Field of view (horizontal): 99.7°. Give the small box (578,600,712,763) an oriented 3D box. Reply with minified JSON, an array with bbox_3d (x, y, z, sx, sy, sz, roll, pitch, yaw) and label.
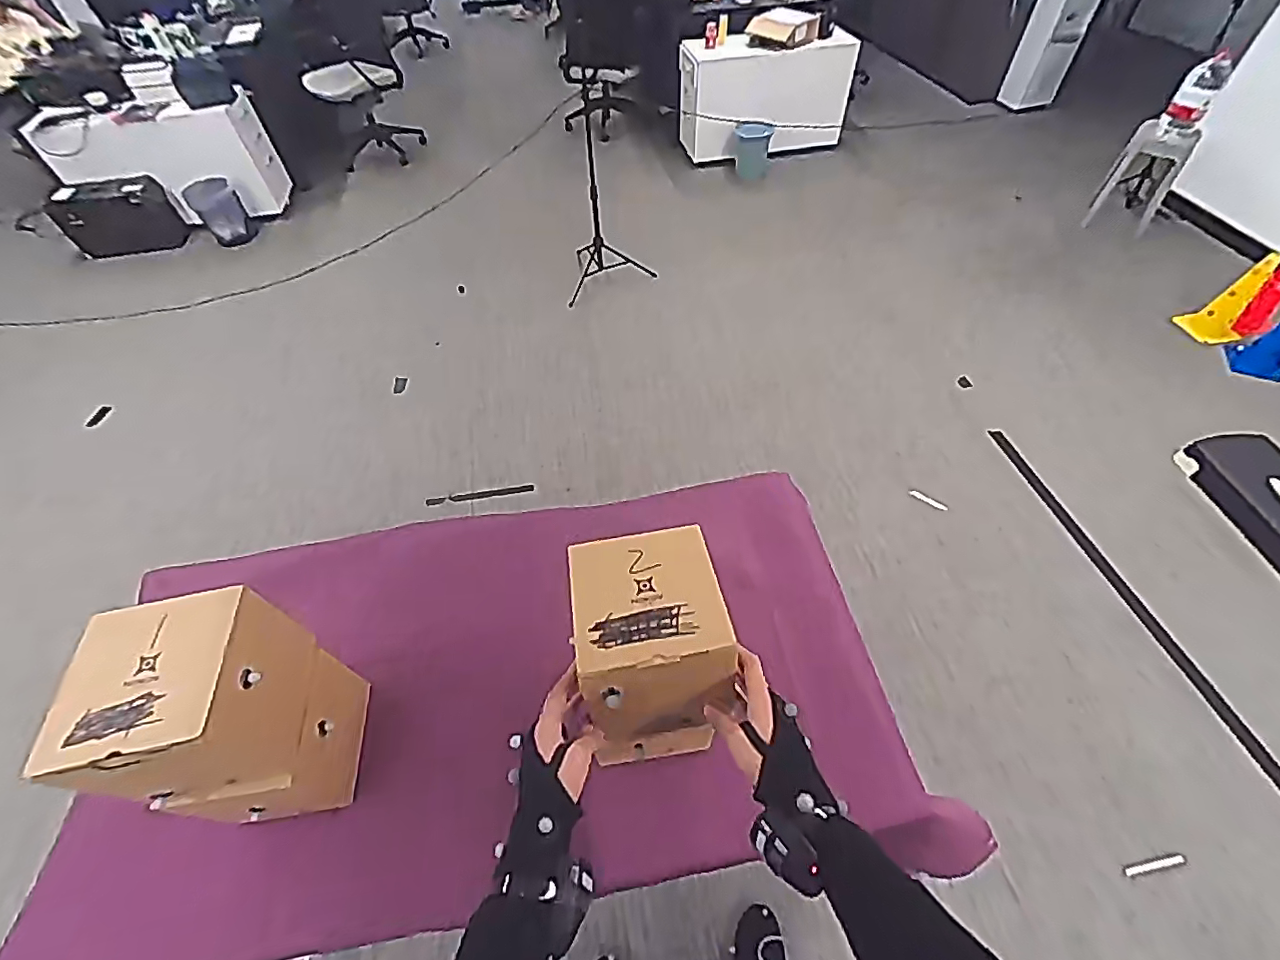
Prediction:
[{"bbox_3d":[0.006,0.300,0.791,0.168,0.176,0.179,-7,51,-3],"label":"small box"}]

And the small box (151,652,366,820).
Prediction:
[{"bbox_3d":[-0.510,0.364,0.759,0.168,0.176,0.179,-7,52,-4],"label":"small box"}]

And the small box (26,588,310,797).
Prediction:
[{"bbox_3d":[-0.521,0.255,0.636,0.168,0.176,0.179,-11,52,-6],"label":"small box"}]
